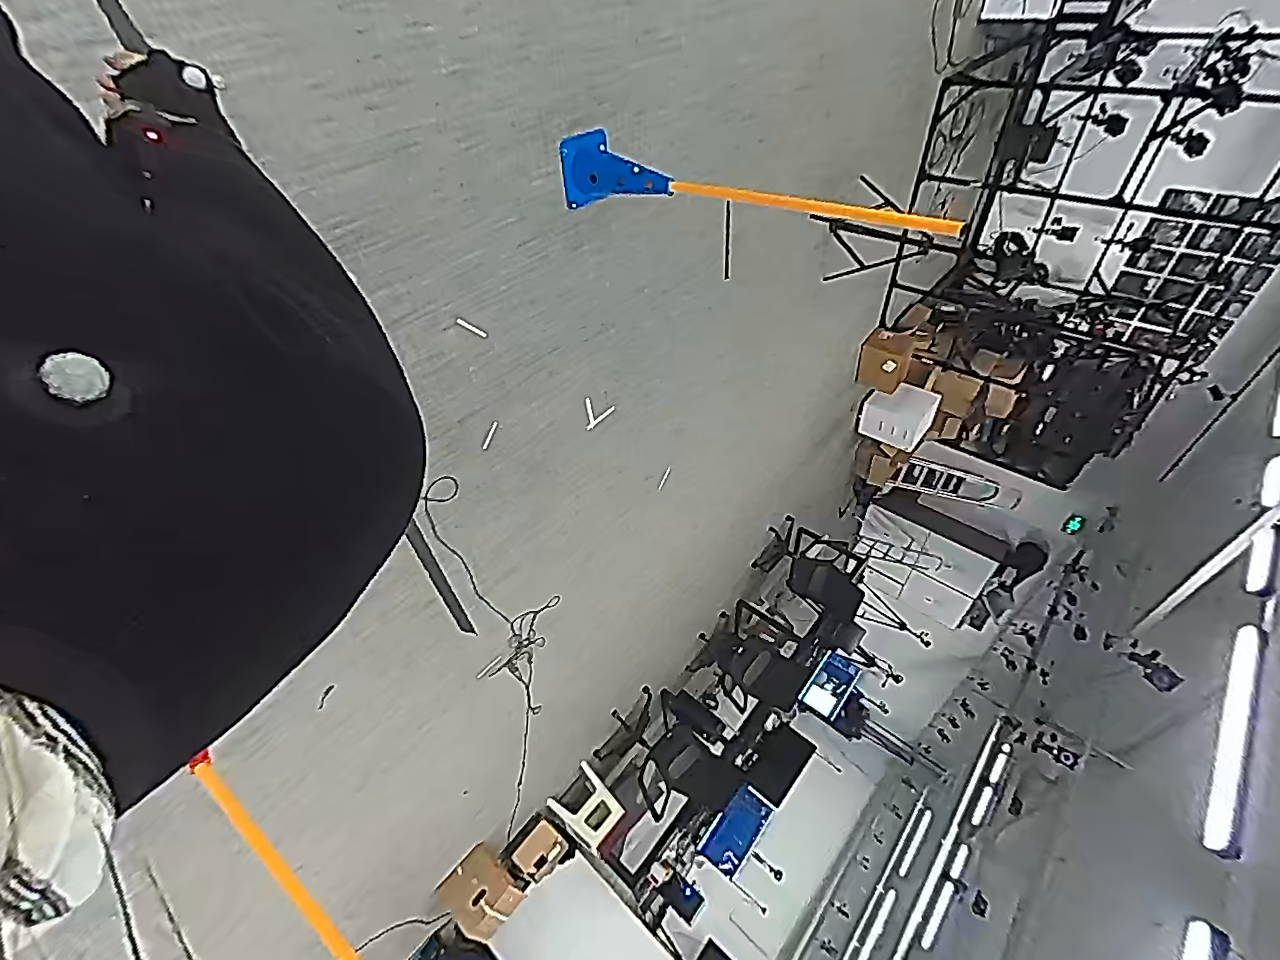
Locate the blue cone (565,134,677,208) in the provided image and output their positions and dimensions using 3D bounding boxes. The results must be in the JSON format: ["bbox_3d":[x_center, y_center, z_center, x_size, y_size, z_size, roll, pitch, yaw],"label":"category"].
[{"bbox_3d":[-0.042,-0.924,1.656,0.193,0.380,0.192,-38,144,-32],"label":"blue cone"}]
